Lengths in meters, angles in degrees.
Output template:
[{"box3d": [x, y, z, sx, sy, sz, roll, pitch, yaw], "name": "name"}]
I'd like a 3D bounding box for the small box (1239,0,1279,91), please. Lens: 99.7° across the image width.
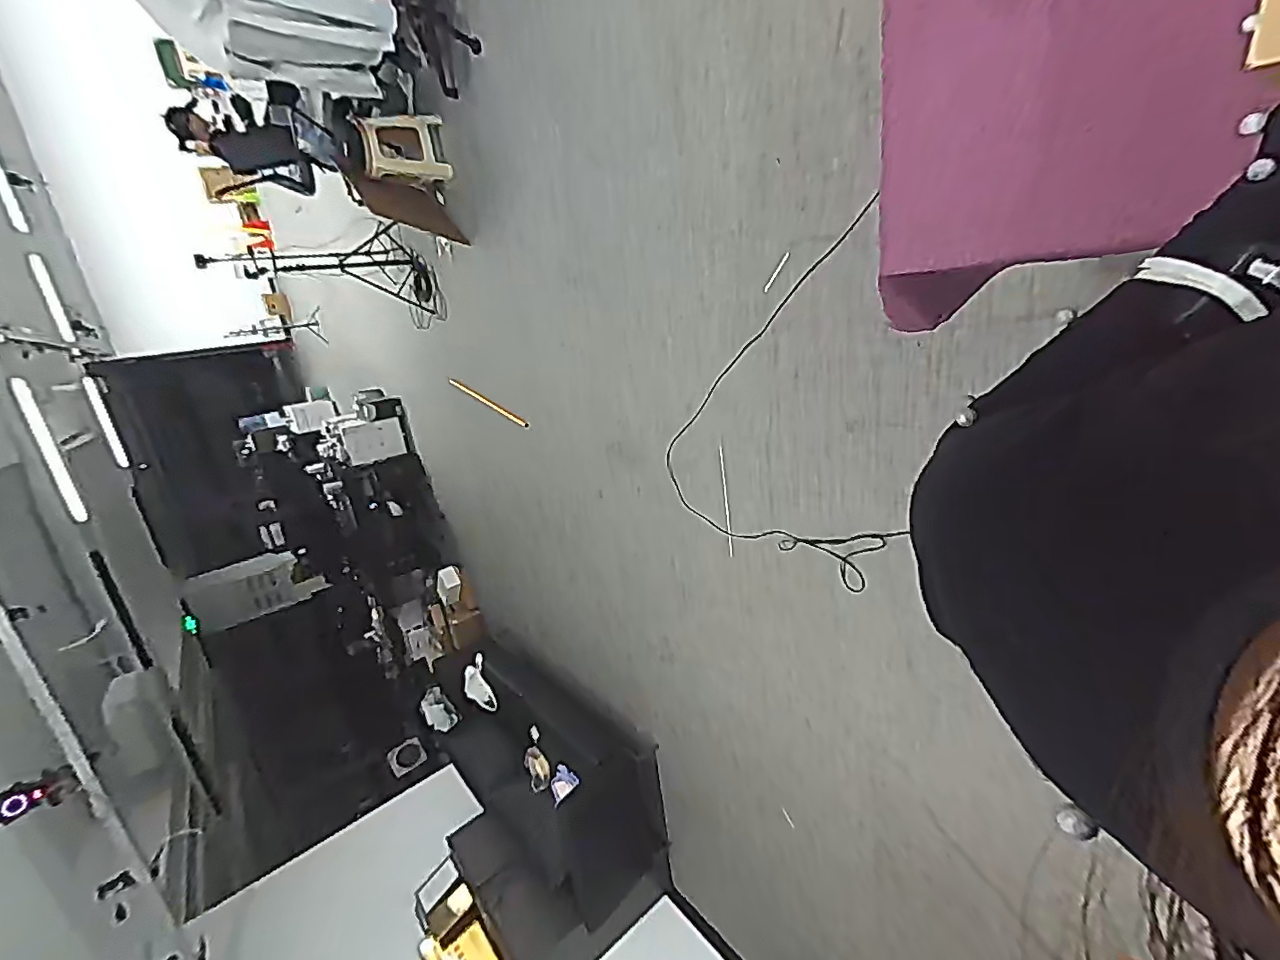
[{"box3d": [0.537, -0.375, 0.345, 0.168, 0.176, 0.179, 19, 120, 47], "name": "small box"}]
